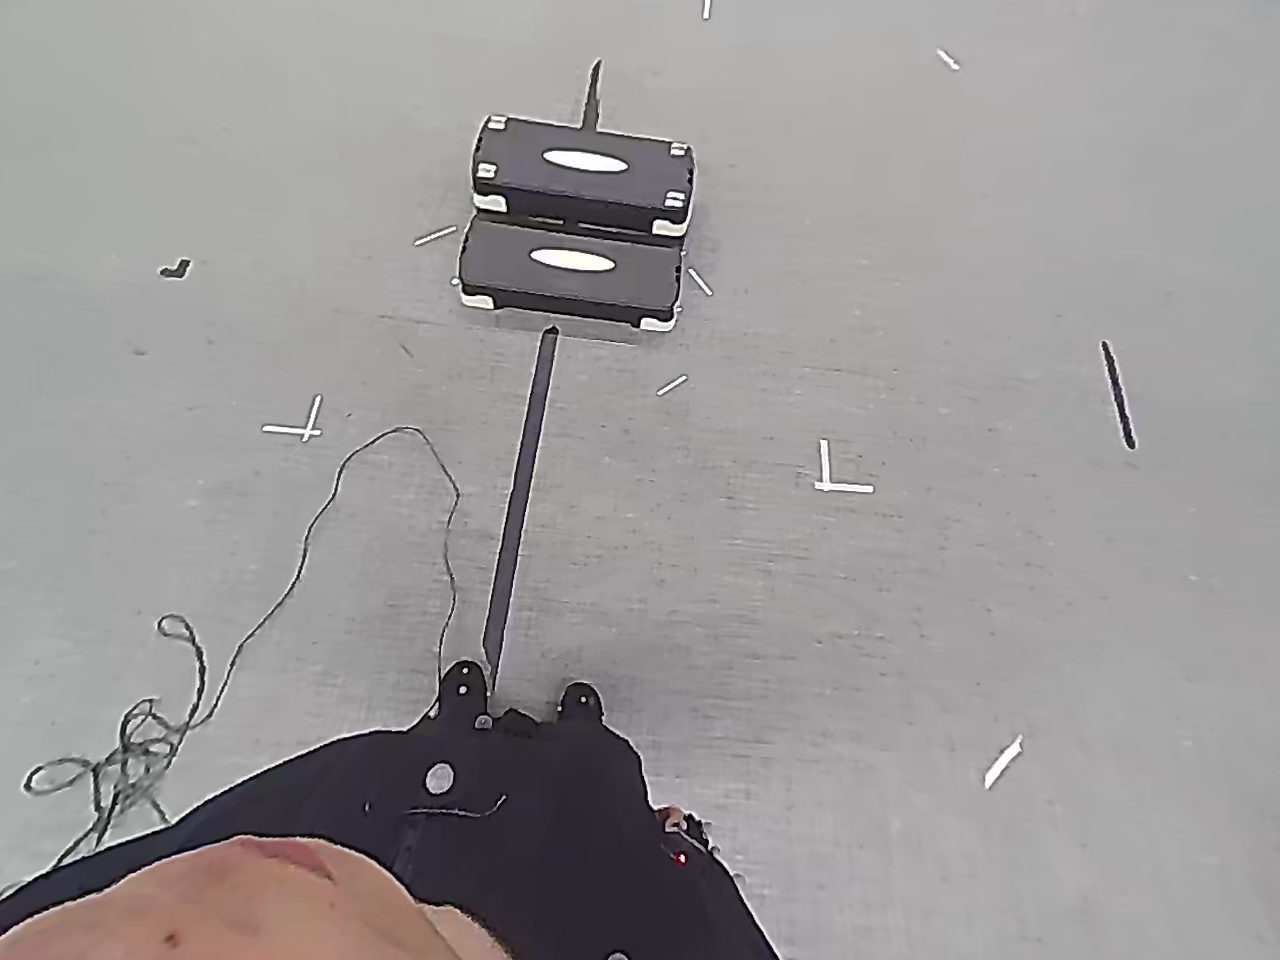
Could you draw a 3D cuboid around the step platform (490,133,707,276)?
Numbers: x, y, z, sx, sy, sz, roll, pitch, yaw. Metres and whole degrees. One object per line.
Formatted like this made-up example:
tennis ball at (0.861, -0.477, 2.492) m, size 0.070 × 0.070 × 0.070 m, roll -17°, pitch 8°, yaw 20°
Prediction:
step platform at (-0.128, -0.889, 1.750) m, size 0.684 × 0.204 × 0.286 m, roll 11°, pitch 70°, yaw -1°
